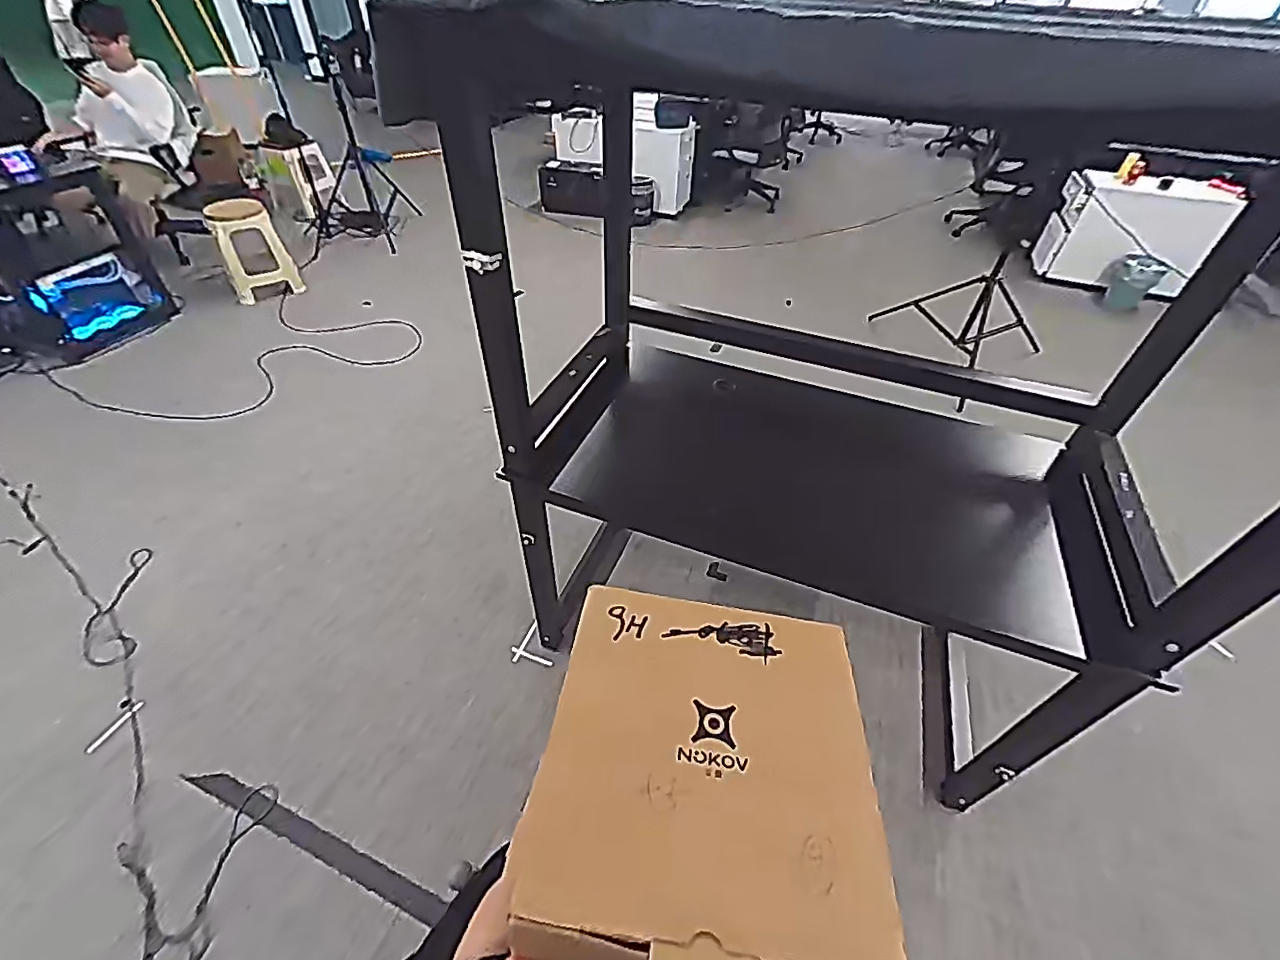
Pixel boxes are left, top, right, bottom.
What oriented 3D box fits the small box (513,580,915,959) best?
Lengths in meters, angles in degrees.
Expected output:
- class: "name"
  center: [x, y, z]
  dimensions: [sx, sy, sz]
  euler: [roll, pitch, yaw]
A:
- class: "small box"
  center: [0.032, 0.192, 0.327]
  dimensions: [0.168, 0.176, 0.179]
  euler: [10, 41, 1]
